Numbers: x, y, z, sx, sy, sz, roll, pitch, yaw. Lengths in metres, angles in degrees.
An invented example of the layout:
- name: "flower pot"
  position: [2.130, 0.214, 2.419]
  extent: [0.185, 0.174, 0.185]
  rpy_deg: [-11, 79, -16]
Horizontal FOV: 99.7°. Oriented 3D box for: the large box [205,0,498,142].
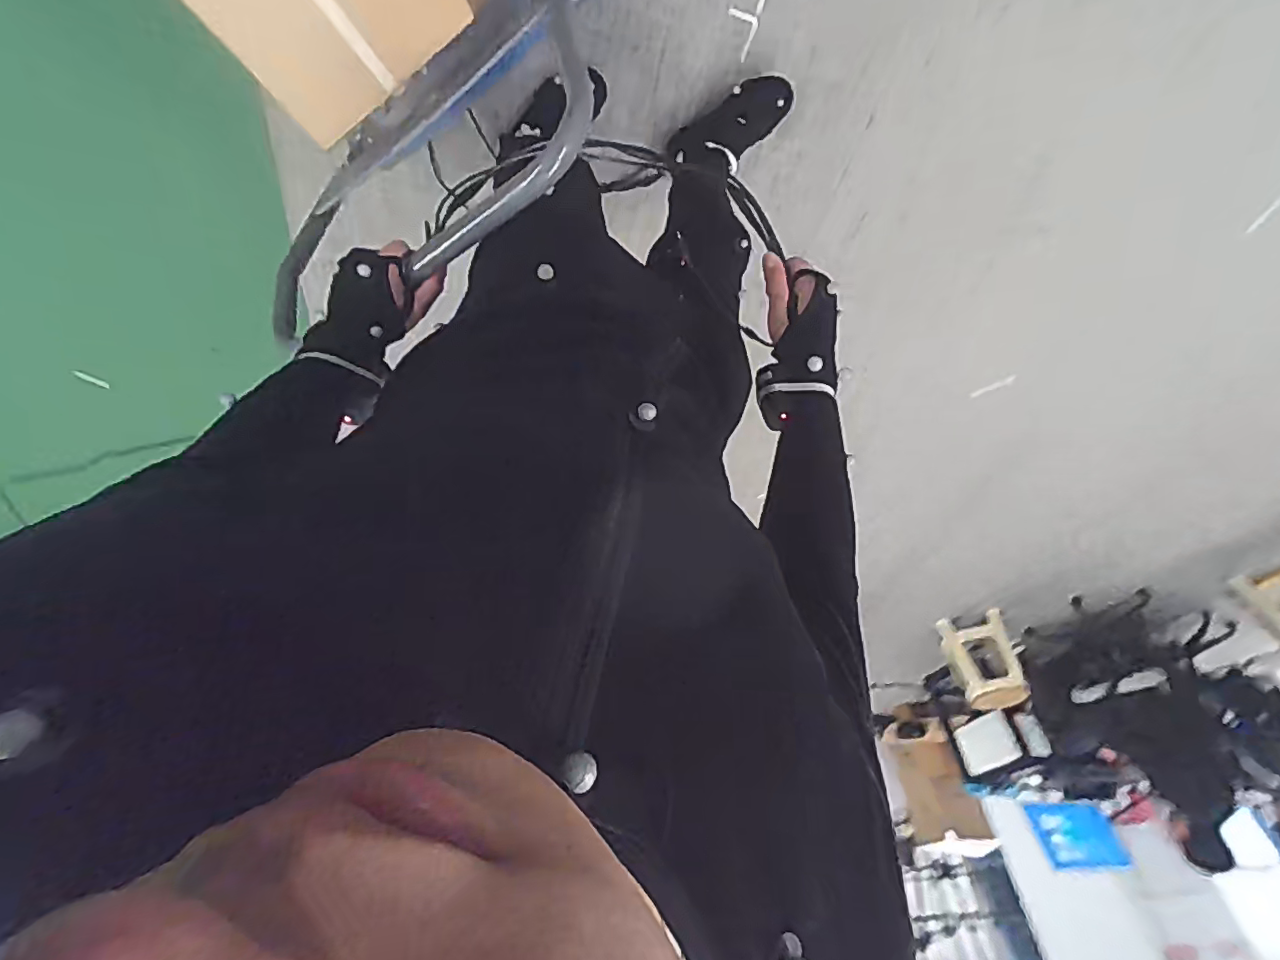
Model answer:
- name: "large box"
  position: [-0.446, -0.797, 0.759]
  extent: [0.320, 0.320, 0.408]
  rpy_deg: [-23, 134, 20]
